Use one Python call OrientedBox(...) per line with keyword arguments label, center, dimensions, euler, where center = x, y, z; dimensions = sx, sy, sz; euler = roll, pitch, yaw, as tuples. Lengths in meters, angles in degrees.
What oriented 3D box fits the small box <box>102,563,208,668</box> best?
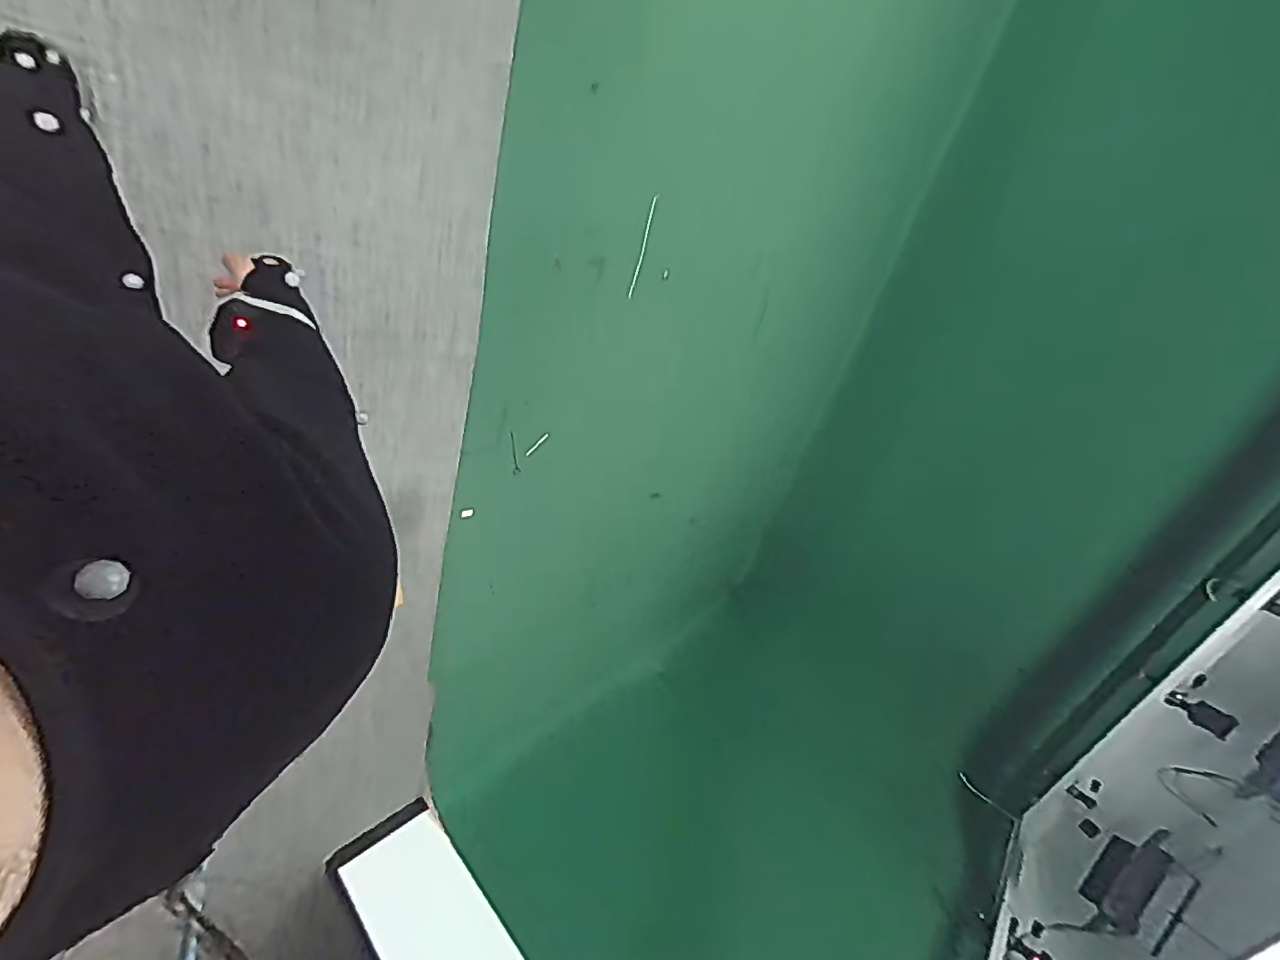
OrientedBox(label="small box", center=(-1.212, 0.329, 1.348), dimensions=(0.179, 0.176, 0.168), euler=(-6, 125, -50))
